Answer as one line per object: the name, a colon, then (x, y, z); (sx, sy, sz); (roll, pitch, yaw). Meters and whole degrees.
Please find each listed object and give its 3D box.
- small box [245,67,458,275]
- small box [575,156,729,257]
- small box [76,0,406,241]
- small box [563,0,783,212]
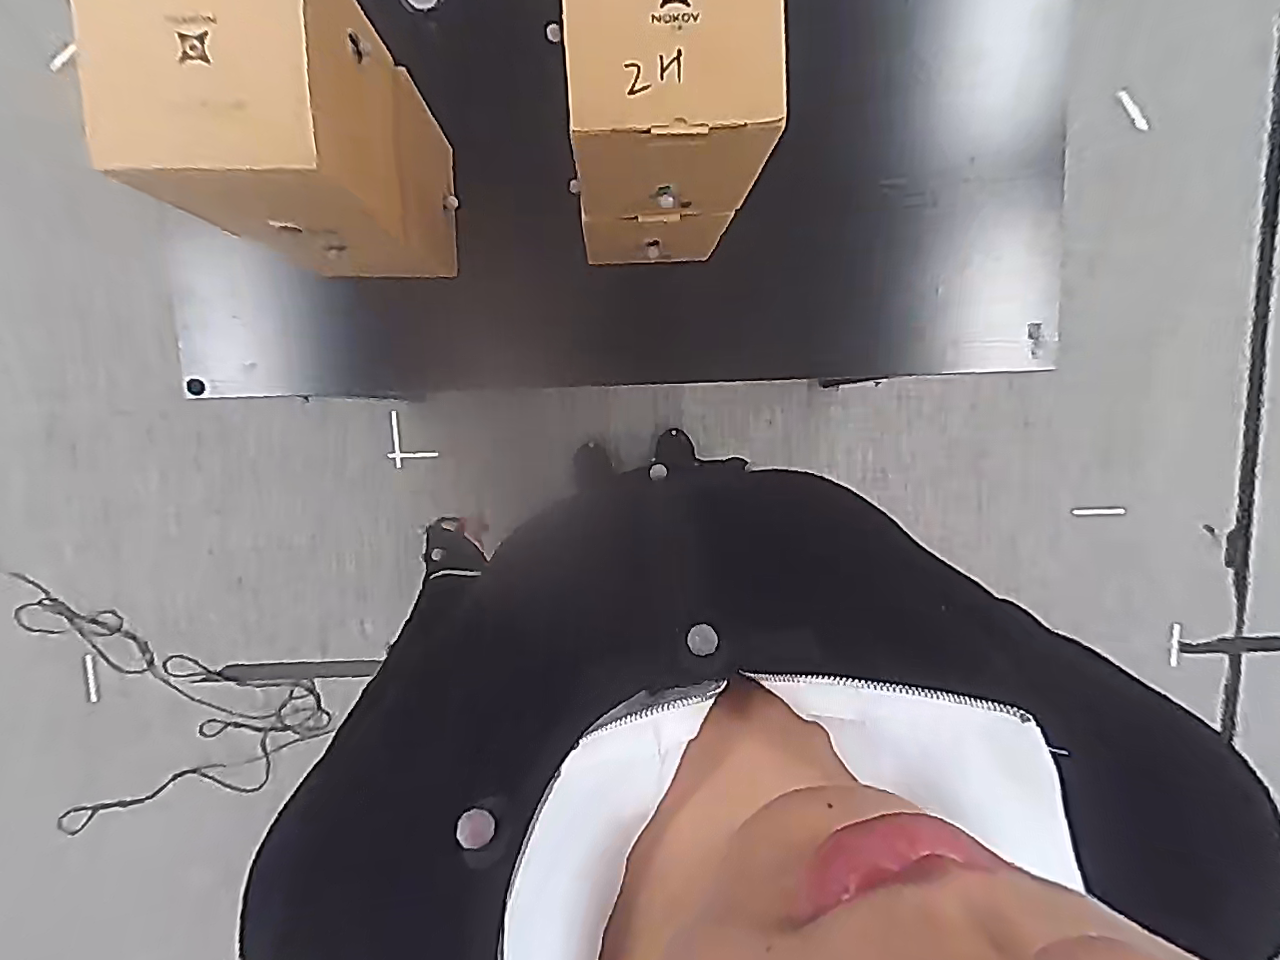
small box: (-0.327, -0.345, 0.632); (0.179, 0.176, 0.168); (-1, 96, -3)
small box: (0.010, -0.376, 0.646); (0.168, 0.176, 0.179); (-4, 96, -2)
small box: (-0.322, -0.327, 0.471); (0.168, 0.176, 0.179); (-2, 97, -1)
small box: (0.020, -0.364, 0.481); (0.168, 0.176, 0.179); (-4, 96, -2)
